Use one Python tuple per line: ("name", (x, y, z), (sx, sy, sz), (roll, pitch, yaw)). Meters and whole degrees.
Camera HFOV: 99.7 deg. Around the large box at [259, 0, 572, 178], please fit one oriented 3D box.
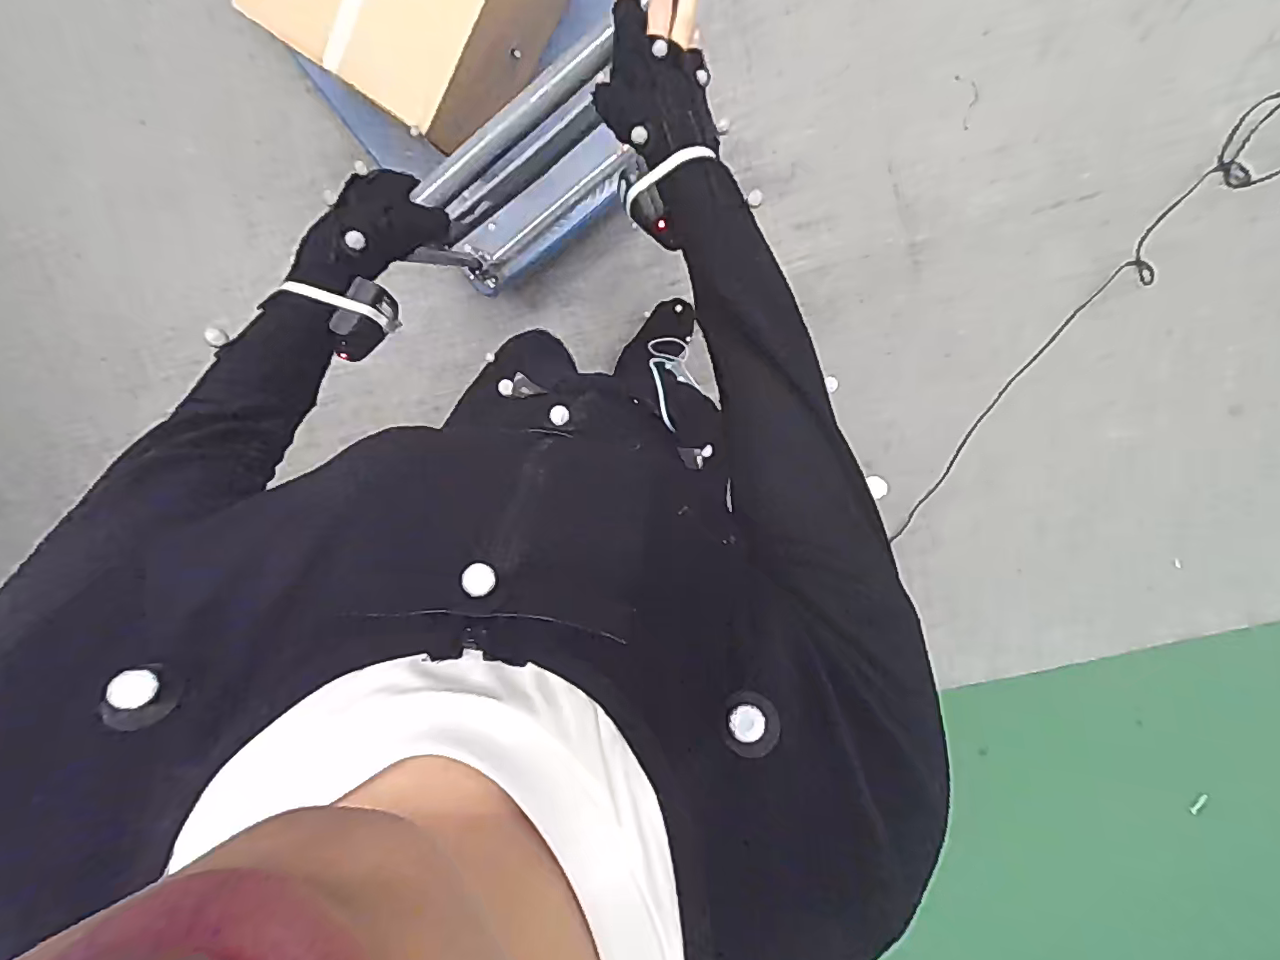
("large box", (-0.339, -0.815, 0.915), (0.320, 0.320, 0.408), (30, 107, -8))
